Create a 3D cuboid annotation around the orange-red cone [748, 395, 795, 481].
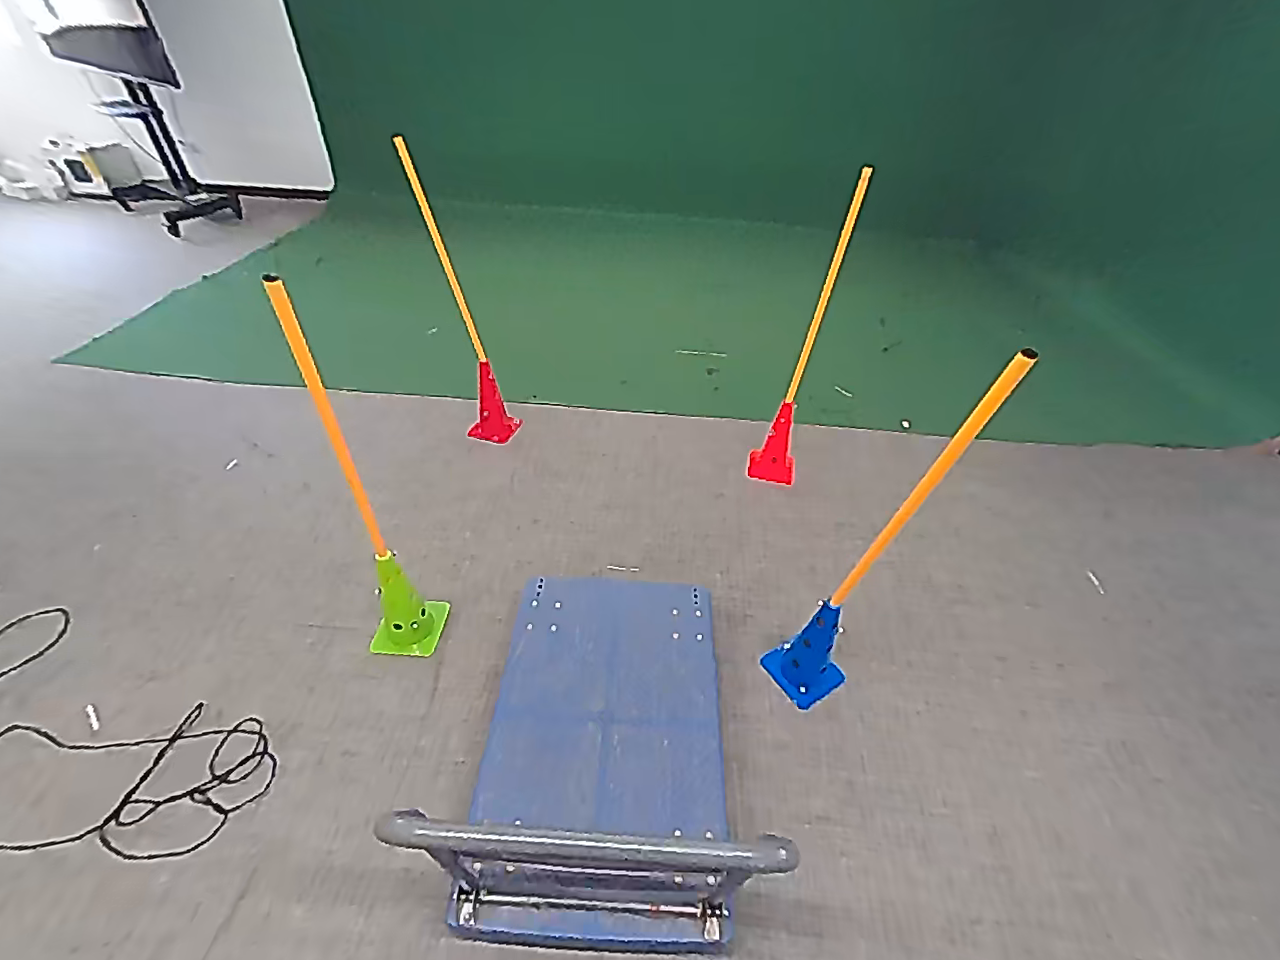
[{"bbox_3d":[0.592,-0.199,2.296,0.198,0.360,0.199,11,43,10],"label":"orange-red cone"}]
